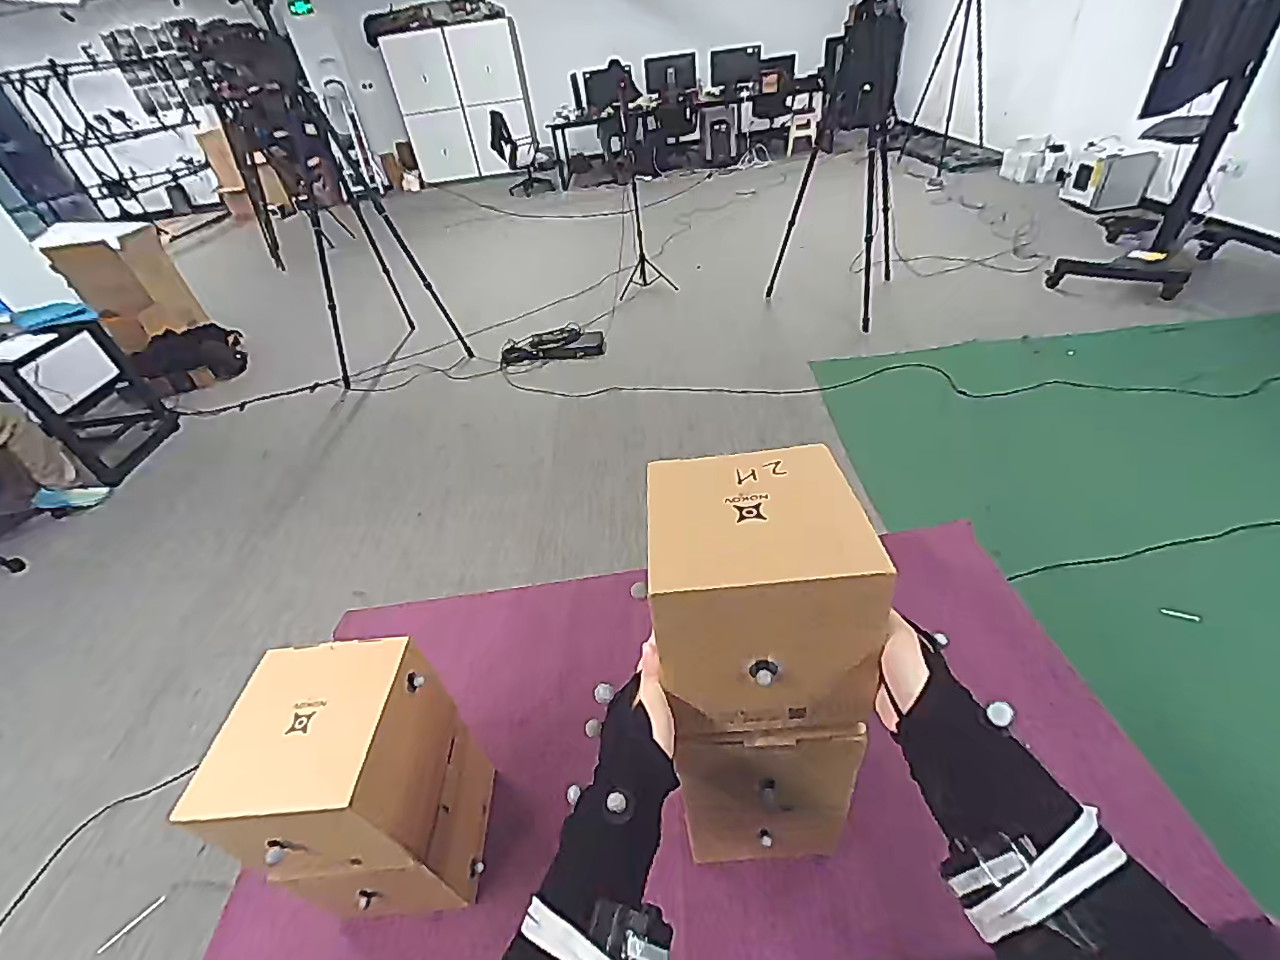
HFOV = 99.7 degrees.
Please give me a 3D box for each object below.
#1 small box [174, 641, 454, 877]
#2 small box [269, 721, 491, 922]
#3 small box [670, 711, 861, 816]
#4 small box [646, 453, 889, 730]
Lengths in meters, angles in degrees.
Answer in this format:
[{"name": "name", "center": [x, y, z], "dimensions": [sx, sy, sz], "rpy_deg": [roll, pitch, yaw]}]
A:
[{"name": "small box", "center": [-0.319, 0.302, 0.581], "dimensions": [0.168, 0.176, 0.179], "rpy_deg": [-6, 38, 3]}, {"name": "small box", "center": [-0.302, 0.429, 0.681], "dimensions": [0.179, 0.176, 0.168], "rpy_deg": [-7, 39, 2]}, {"name": "small box", "center": [0.121, 0.236, 0.575], "dimensions": [0.168, 0.176, 0.179], "rpy_deg": [-4, 40, 6]}, {"name": "small box", "center": [0.098, 0.098, 0.473], "dimensions": [0.168, 0.176, 0.179], "rpy_deg": [-5, 32, 5]}]
